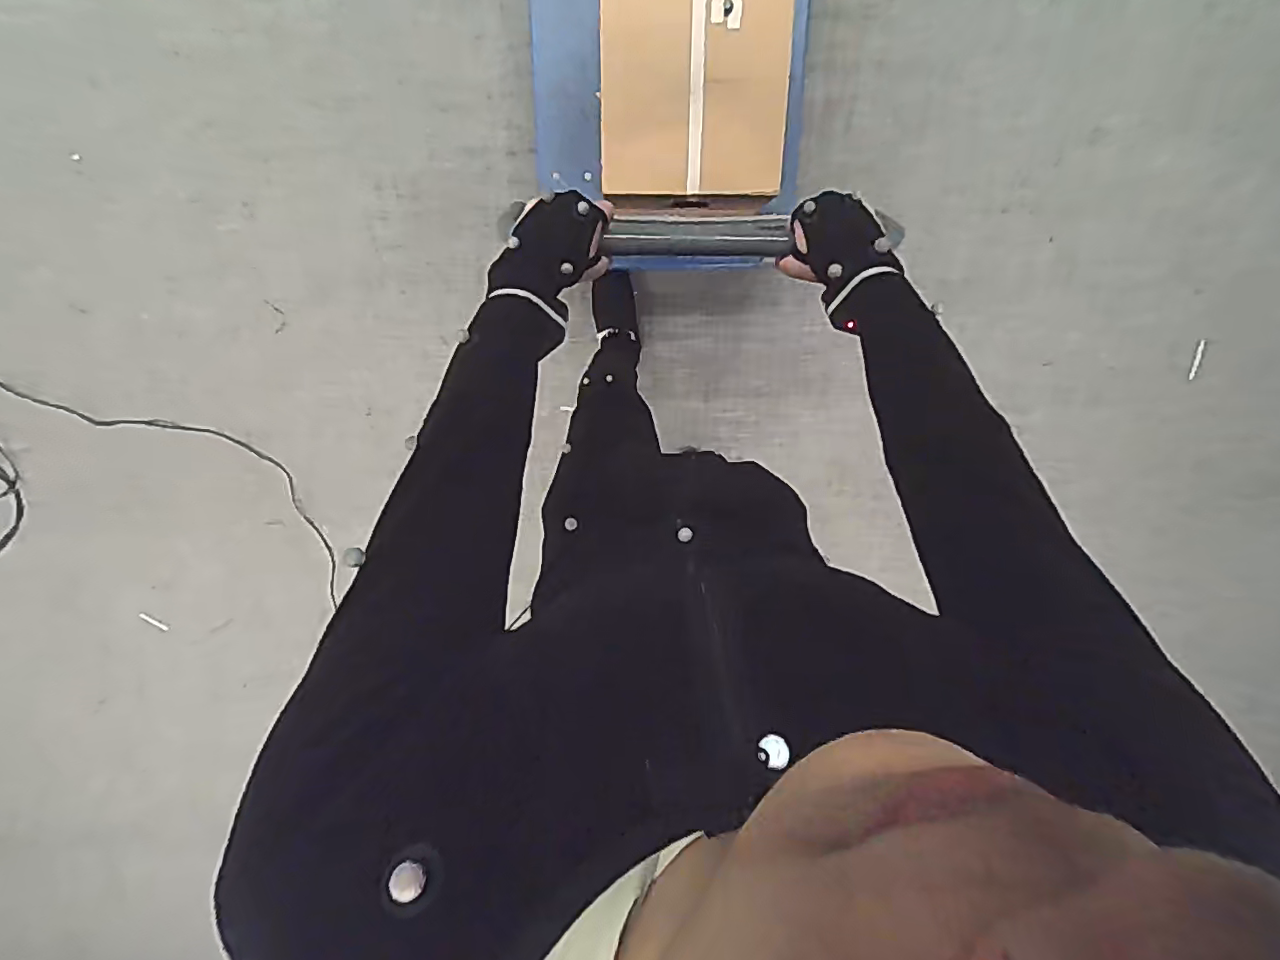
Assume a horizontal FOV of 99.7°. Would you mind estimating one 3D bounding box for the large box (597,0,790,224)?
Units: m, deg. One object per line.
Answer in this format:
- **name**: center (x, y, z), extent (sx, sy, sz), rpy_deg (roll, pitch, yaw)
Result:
- **large box**: center (0.086, -0.731, 1.030), extent (0.320, 0.320, 0.408), rpy_deg (0, 107, -2)
